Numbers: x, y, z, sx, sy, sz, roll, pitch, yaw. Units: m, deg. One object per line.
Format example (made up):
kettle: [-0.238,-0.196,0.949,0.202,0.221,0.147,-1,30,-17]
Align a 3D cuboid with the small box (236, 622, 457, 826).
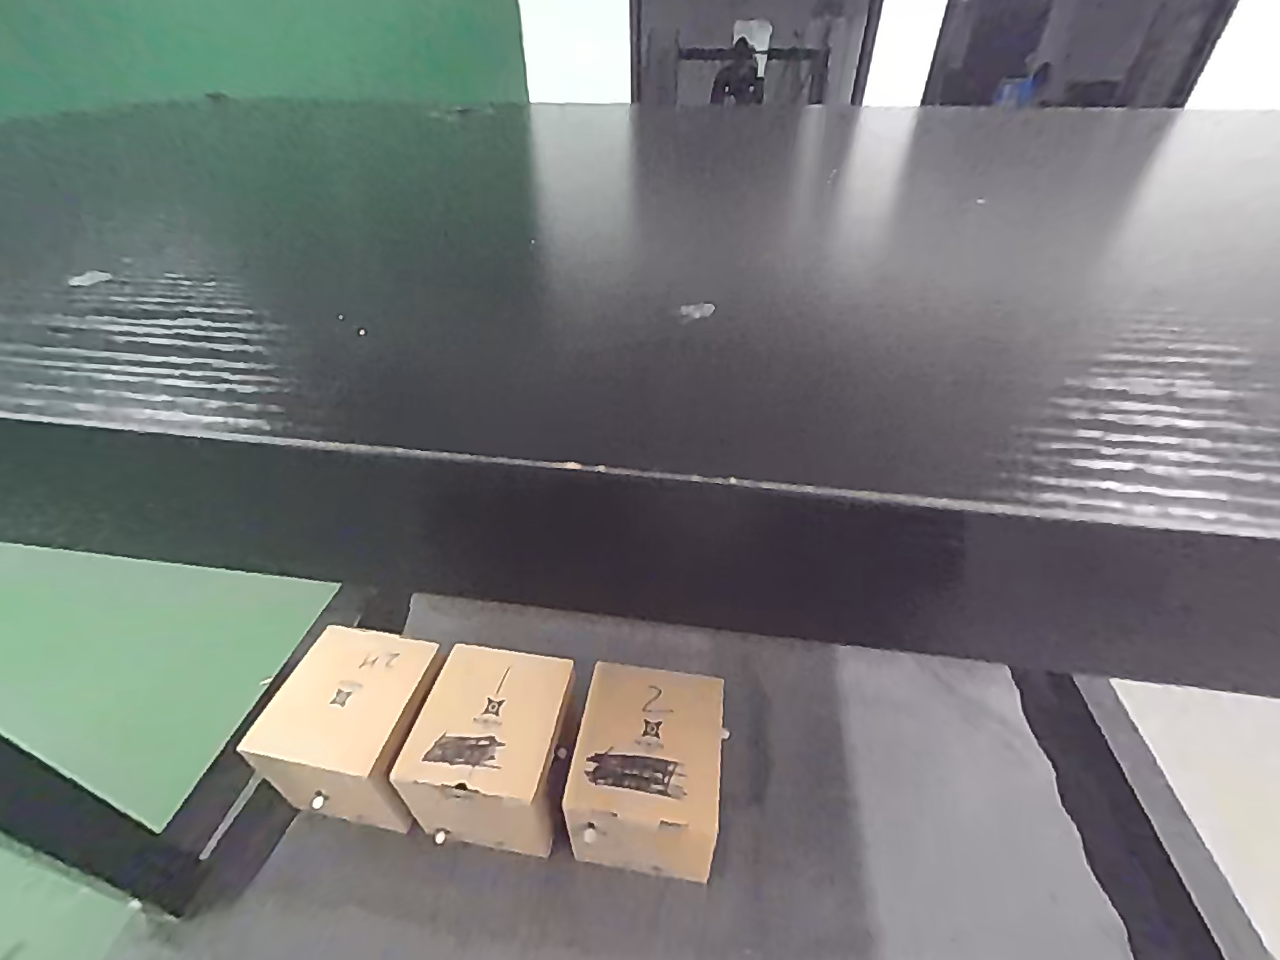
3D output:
small box: [-0.360,0.318,0.708,0.168,0.176,0.179,8,39,8]
